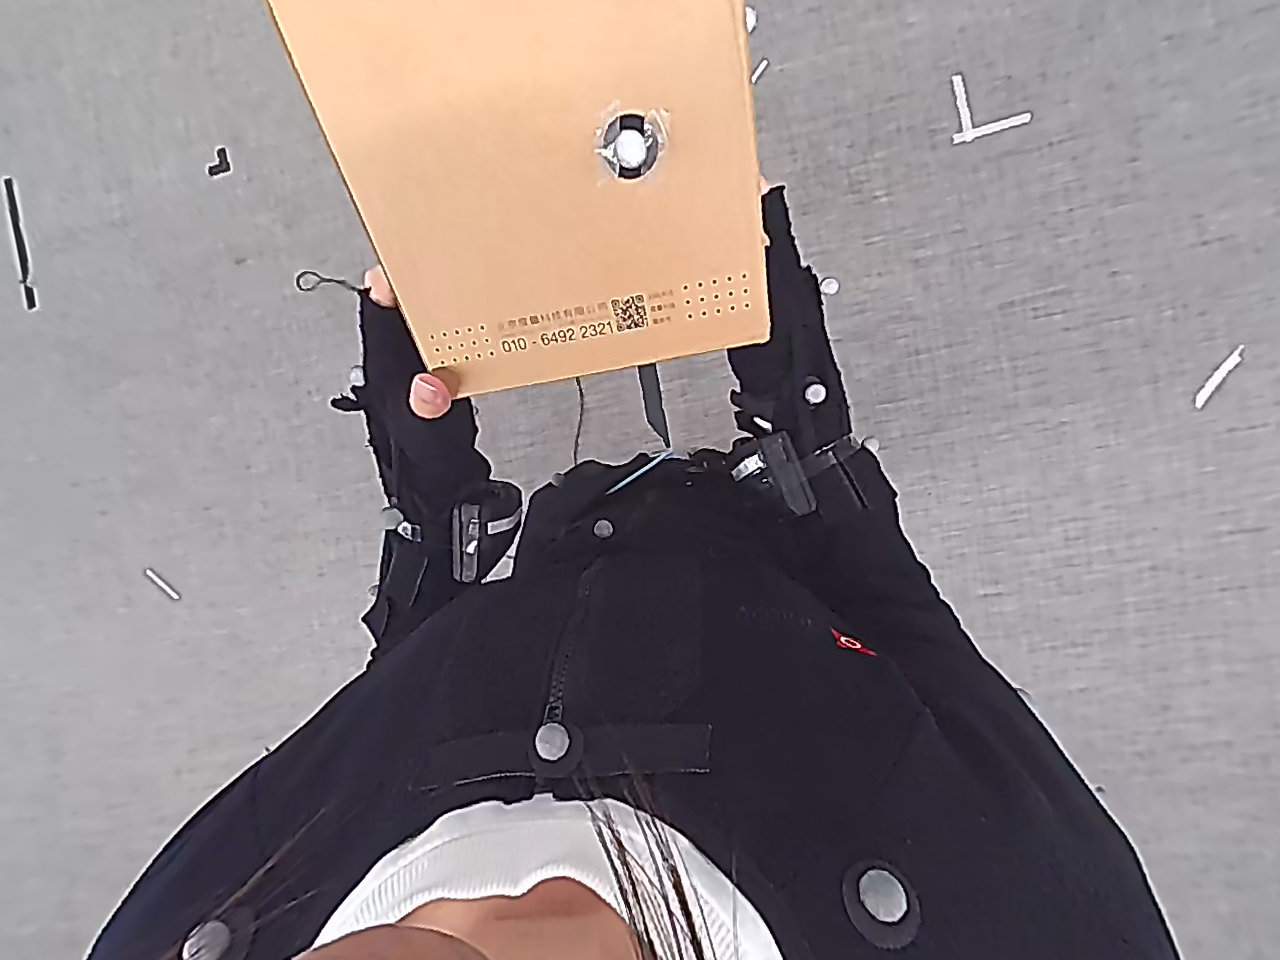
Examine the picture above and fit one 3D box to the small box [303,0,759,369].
[{"bbox_3d":[-0.029,-0.171,0.304,0.168,0.179,0.176,-7,123,9],"label":"small box"}]
